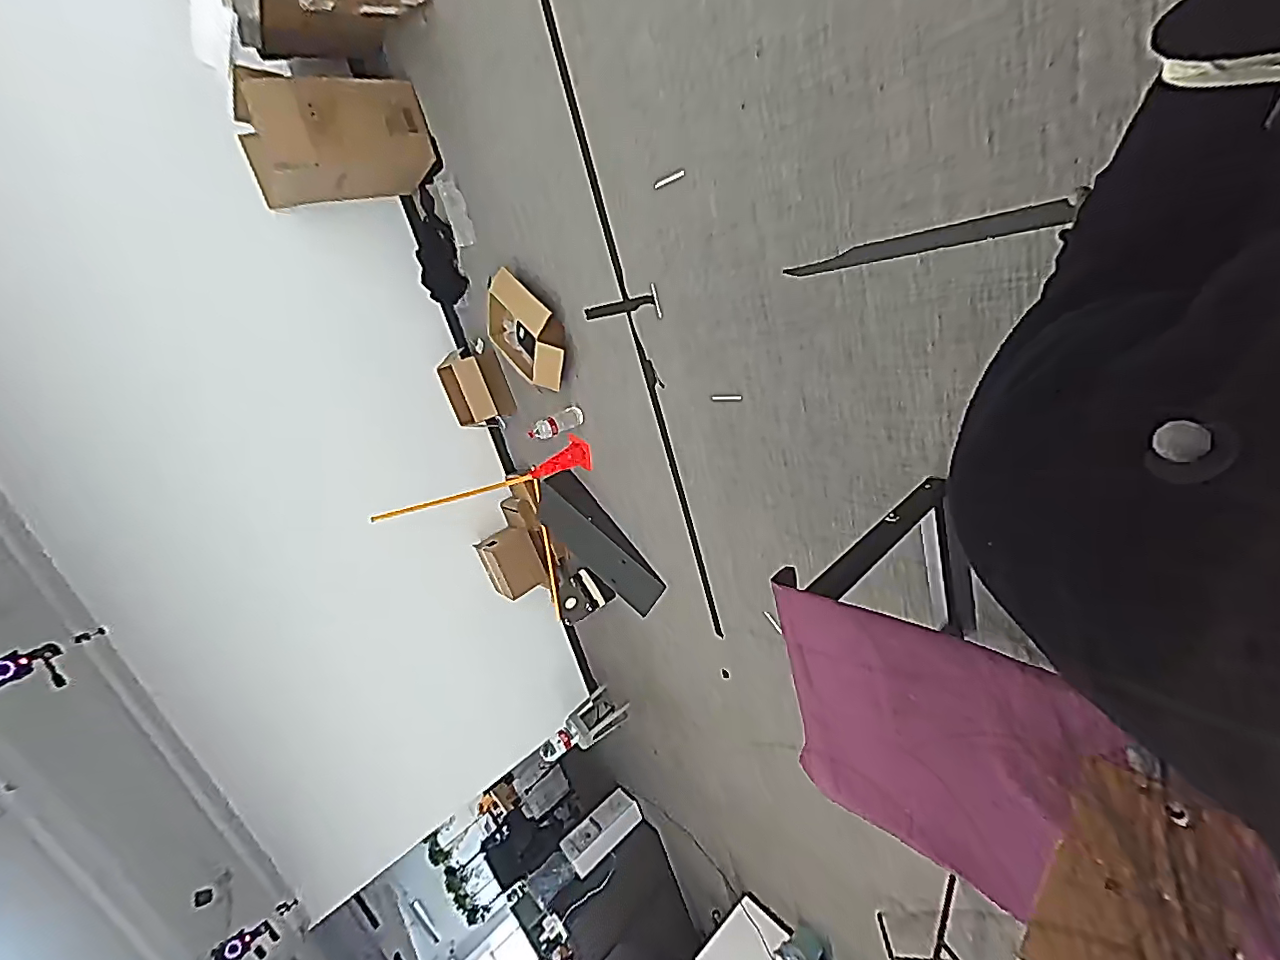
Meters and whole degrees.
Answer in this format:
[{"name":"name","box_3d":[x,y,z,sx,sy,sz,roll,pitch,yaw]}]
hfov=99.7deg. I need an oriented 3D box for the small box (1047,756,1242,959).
[{"name":"small box","box_3d":[0.688,0.532,0.743,0.168,0.176,0.179,12,124,49]}]
